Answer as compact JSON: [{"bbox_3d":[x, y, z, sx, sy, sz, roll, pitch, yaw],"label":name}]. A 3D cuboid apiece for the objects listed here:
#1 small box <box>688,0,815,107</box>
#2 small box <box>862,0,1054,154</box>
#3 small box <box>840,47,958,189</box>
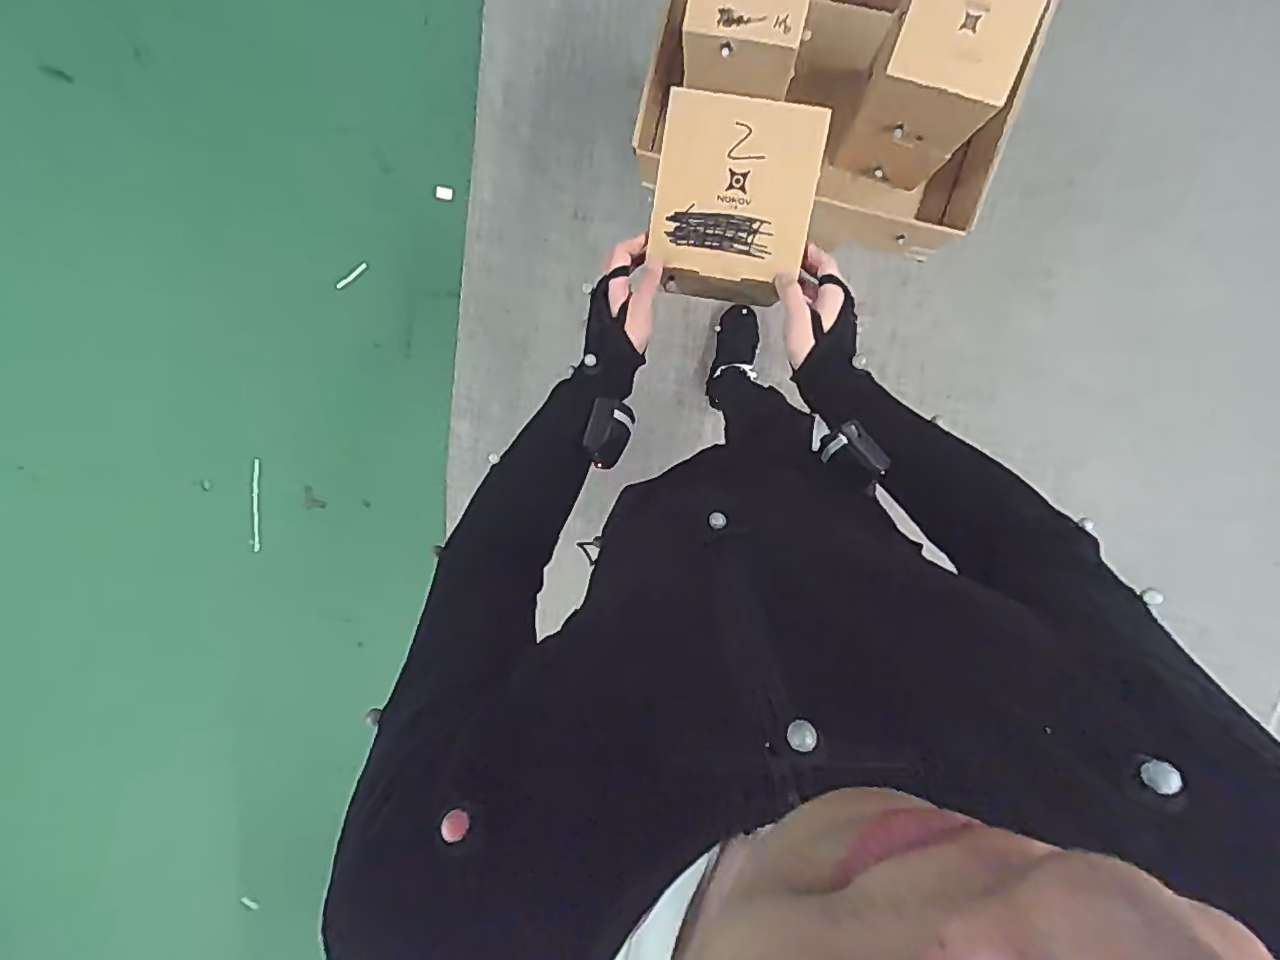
[{"bbox_3d":[0.169,-0.699,0.798,0.168,0.176,0.179,13,101,5],"label":"small box"},{"bbox_3d":[0.448,-0.616,0.783,0.168,0.176,0.179,19,102,3],"label":"small box"},{"bbox_3d":[0.471,-0.645,0.942,0.168,0.176,0.179,20,102,3],"label":"small box"}]
